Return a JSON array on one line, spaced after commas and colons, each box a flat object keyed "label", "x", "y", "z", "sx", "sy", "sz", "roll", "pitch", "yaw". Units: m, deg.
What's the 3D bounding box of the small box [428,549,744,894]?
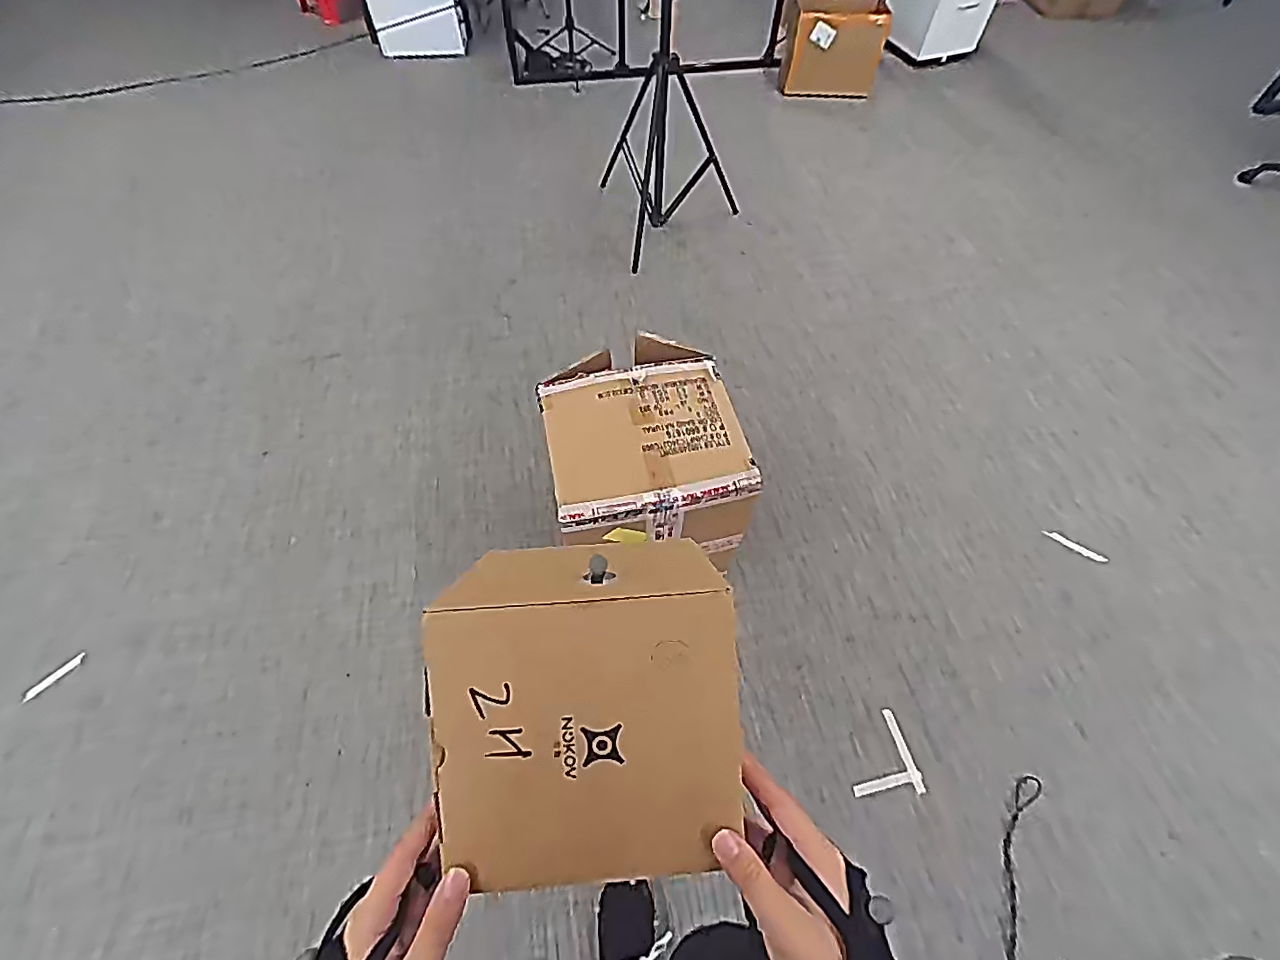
[{"label": "small box", "x": -0.033, "y": 0.148, "z": 0.390, "sx": 0.179, "sy": 0.176, "sz": 0.168, "roll": -4, "pitch": 93, "yaw": -2}]
